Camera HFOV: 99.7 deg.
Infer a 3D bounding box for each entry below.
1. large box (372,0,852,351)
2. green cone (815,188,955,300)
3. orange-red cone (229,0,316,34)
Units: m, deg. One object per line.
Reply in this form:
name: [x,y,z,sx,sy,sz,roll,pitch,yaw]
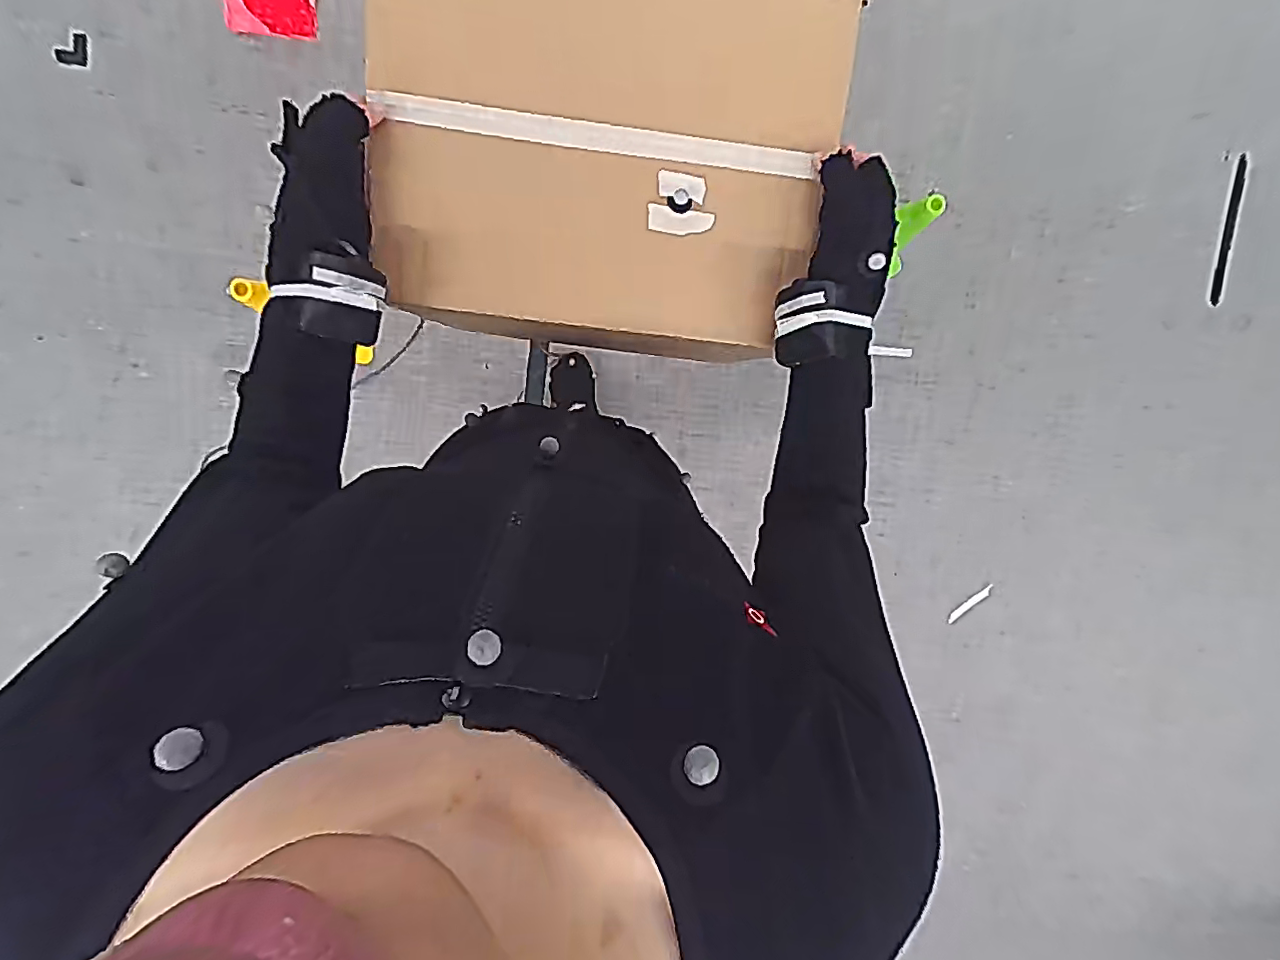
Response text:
large box: [-0.038,-0.330,0.614,0.408,0.320,0.320,5,100,-5]
green cone: [0.586,-0.577,1.247,0.202,0.368,0.200,-32,99,-1]
orange-red cone: [-0.843,-1.120,1.081,0.198,0.360,0.199,3,99,-3]
